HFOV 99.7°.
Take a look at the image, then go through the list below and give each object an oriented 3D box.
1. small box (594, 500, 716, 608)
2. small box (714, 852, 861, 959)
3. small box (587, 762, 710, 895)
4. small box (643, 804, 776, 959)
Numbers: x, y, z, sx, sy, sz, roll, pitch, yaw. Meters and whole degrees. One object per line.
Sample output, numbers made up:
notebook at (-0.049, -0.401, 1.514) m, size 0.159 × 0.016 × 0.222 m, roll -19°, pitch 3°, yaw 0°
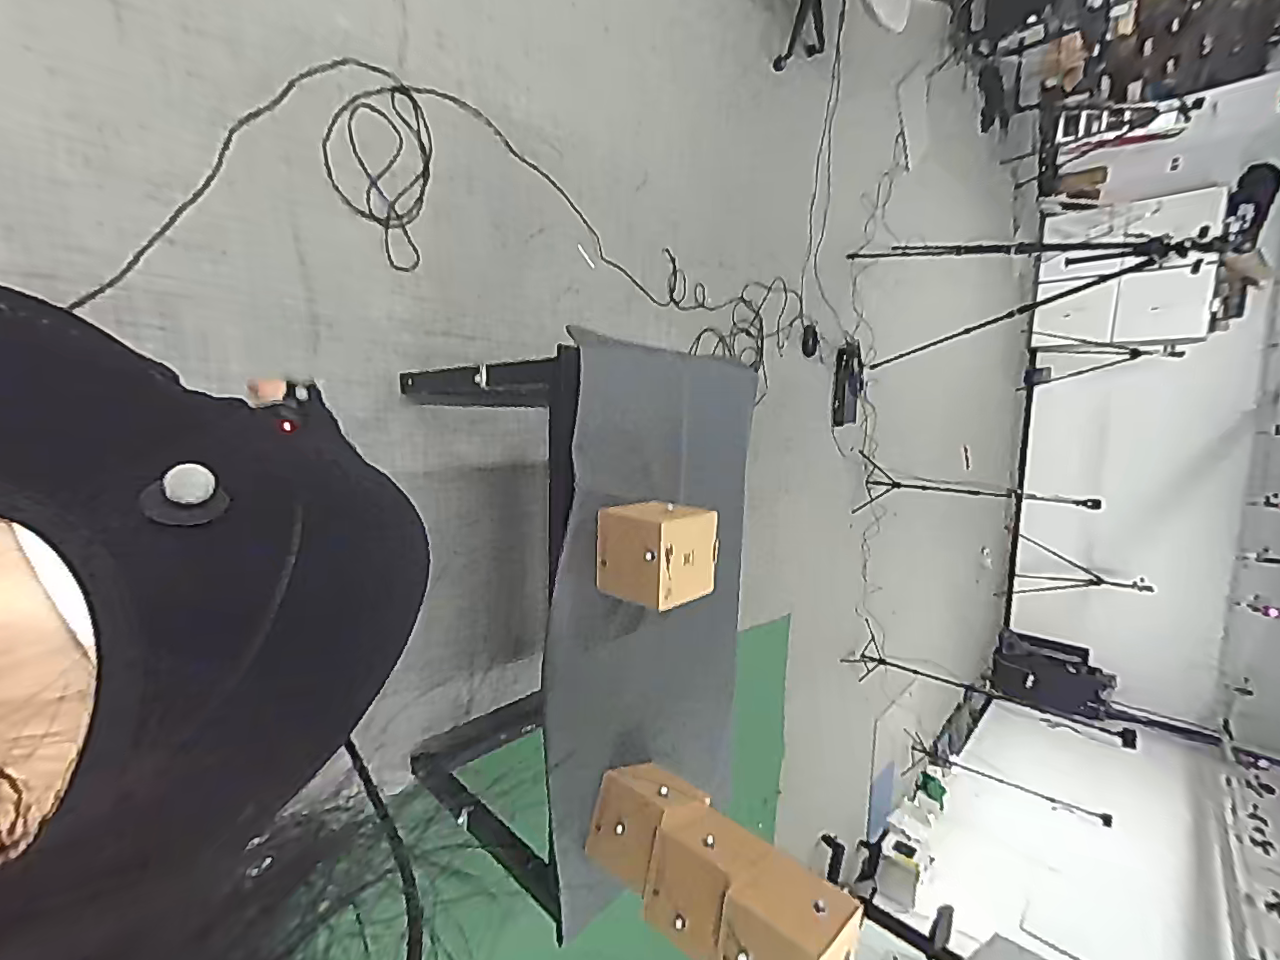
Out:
small box at (0.030, 0.136, 1.074) m, size 0.179 × 0.176 × 0.168 m, roll -6°, pitch 100°, yaw -47°
small box at (0.245, 0.774, 0.904) m, size 0.179 × 0.176 × 0.168 m, roll 8°, pitch 90°, yaw -48°
small box at (0.017, 0.716, 1.132) m, size 0.179 × 0.176 × 0.168 m, roll 24°, pitch 78°, yaw -48°
small box at (0.129, 0.750, 1.018) m, size 0.179 × 0.176 × 0.168 m, roll 17°, pitch 84°, yaw -49°
